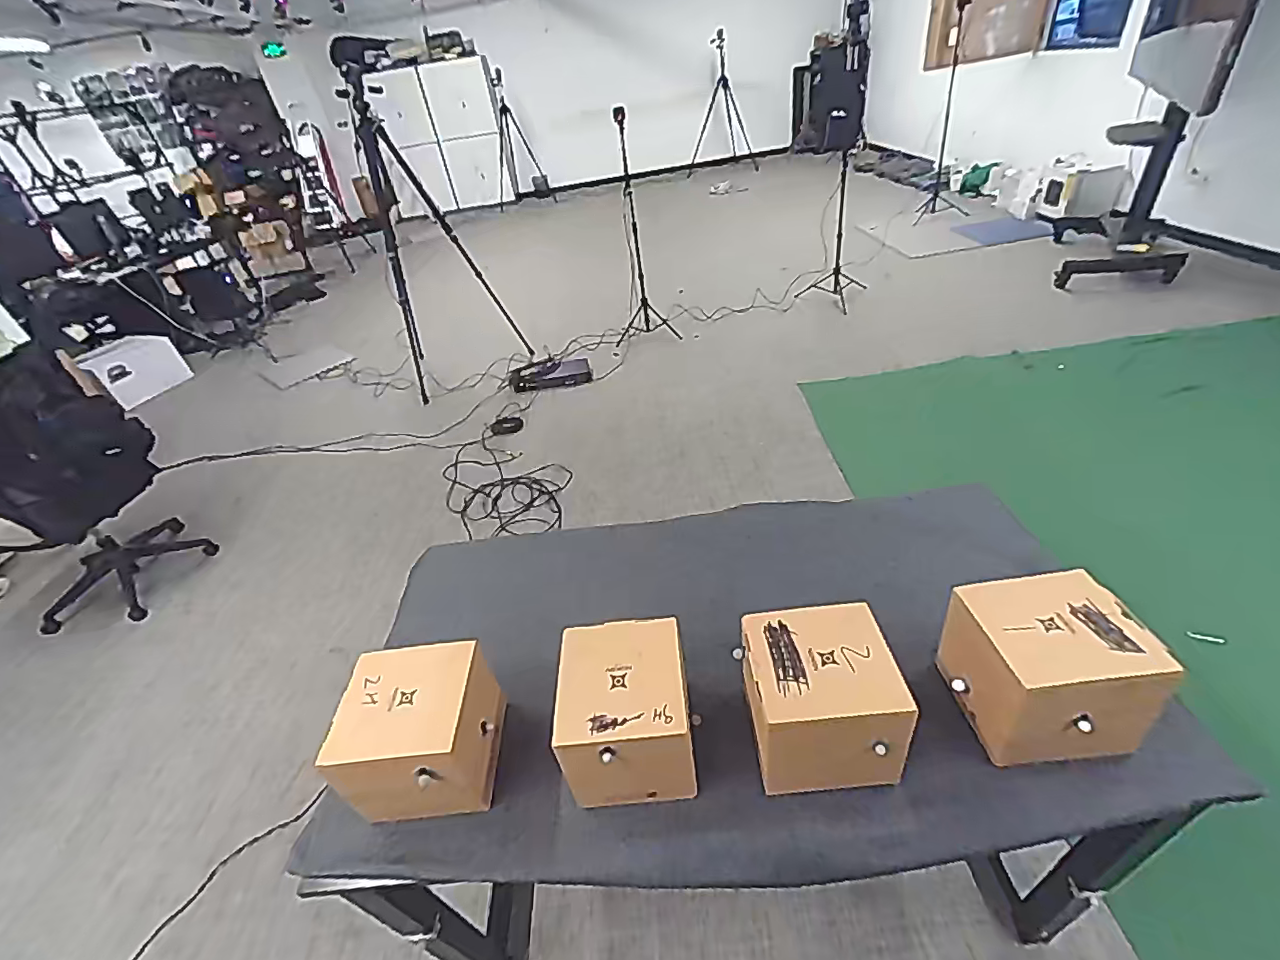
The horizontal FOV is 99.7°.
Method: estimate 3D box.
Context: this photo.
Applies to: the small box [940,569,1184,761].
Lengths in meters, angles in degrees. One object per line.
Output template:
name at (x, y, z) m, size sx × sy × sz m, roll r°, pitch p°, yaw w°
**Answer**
small box at (0.527, 0.242, 0.710) m, size 0.179 × 0.176 × 0.168 m, roll -8°, pitch 34°, yaw 5°
